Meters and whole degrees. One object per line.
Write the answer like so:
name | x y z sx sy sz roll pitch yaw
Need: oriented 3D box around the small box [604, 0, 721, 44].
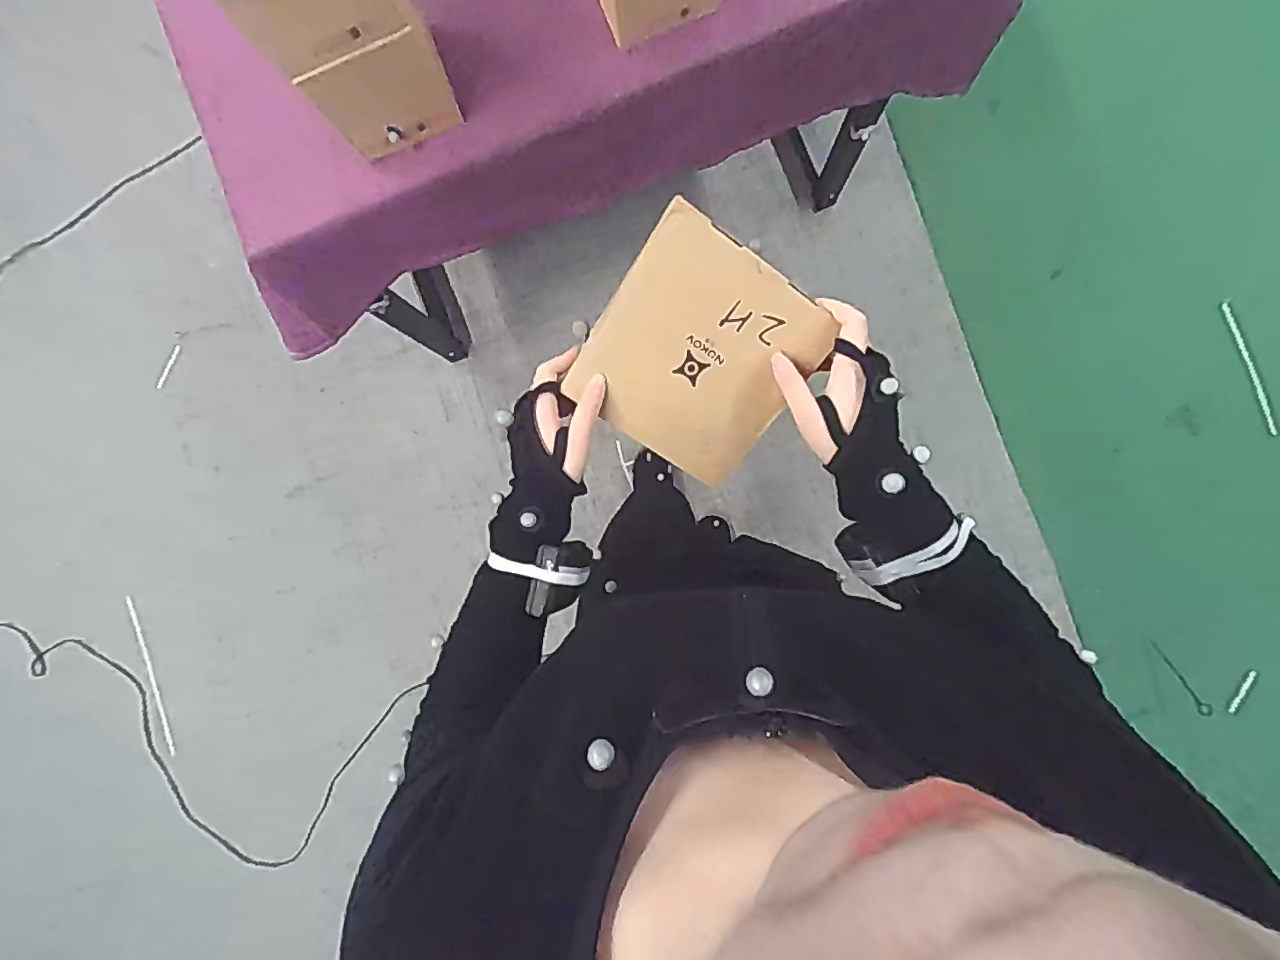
small box | 0.012 -0.756 0.729 0.168 0.176 0.179 -21 86 4

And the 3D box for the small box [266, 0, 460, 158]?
small box | -0.379 -0.600 0.751 0.168 0.176 0.179 -20 87 3
